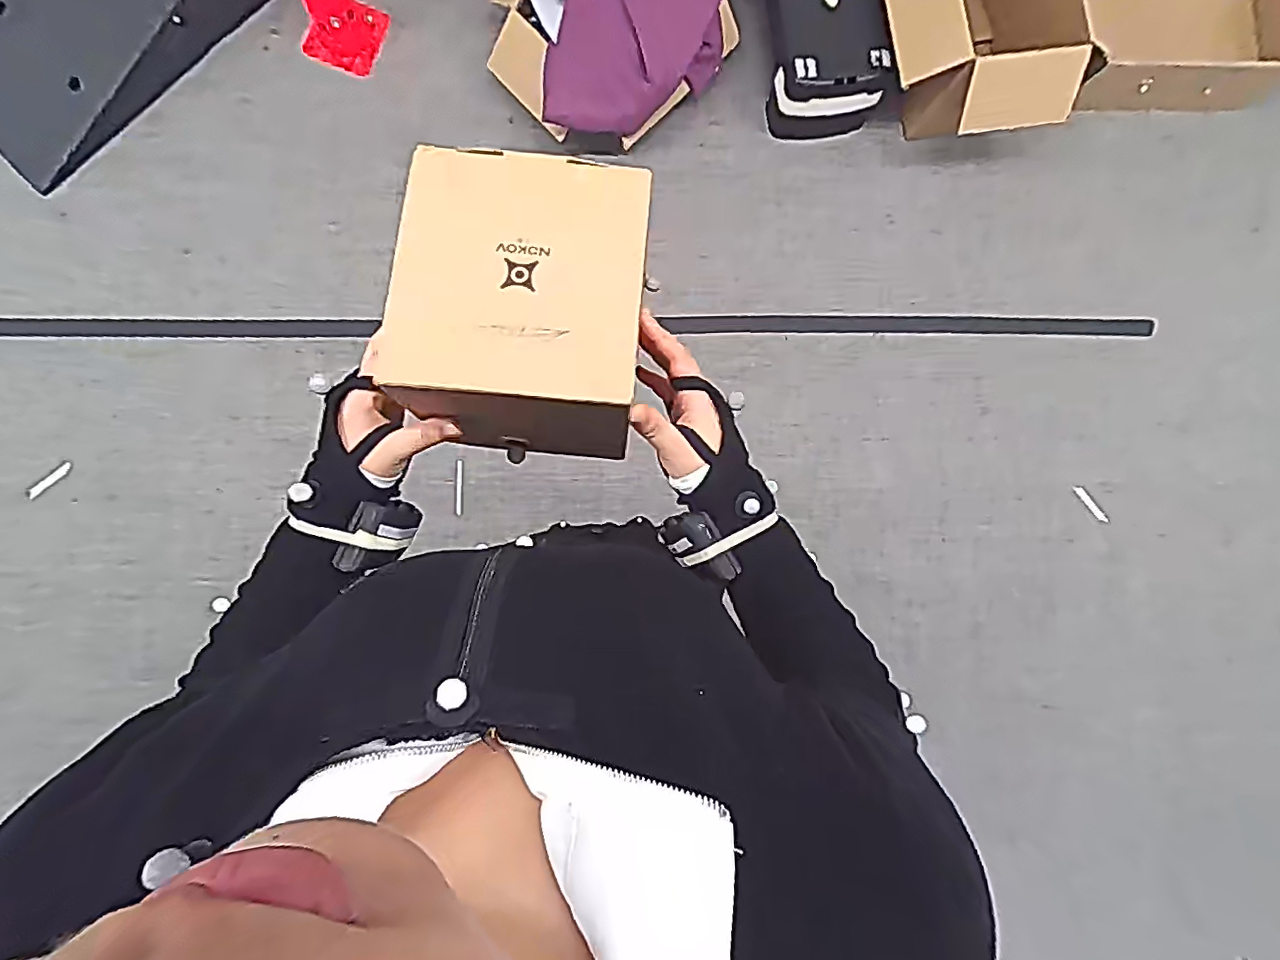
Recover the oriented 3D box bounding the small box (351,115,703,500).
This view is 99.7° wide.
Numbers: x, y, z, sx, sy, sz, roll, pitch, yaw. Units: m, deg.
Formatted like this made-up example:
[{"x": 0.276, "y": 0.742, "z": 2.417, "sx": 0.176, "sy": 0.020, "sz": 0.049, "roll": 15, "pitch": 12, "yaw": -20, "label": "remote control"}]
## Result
[{"x": -0.057, "y": -0.090, "z": 0.356, "sx": 0.168, "sy": 0.176, "sz": 0.179, "roll": 4, "pitch": 79, "yaw": -2, "label": "small box"}]
